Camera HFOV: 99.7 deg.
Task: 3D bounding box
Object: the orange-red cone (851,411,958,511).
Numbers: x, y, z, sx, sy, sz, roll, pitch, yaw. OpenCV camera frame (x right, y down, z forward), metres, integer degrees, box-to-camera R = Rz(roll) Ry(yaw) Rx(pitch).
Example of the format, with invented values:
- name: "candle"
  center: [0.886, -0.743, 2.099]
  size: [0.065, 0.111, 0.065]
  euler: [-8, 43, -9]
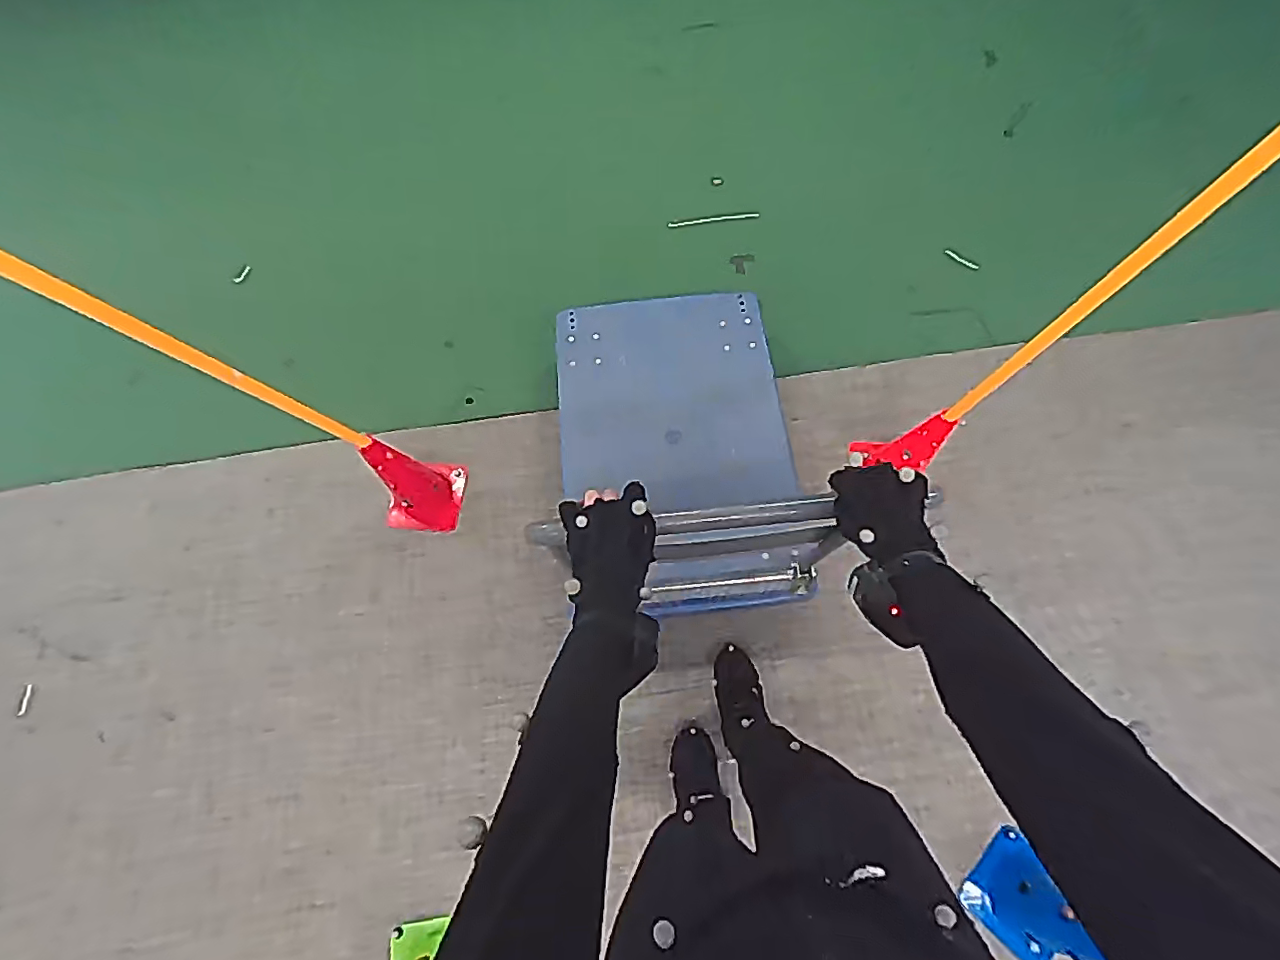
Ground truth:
- name: "orange-red cone"
  center: [0.686, -0.071, 1.346]
  size: [0.198, 0.360, 0.199]
  euler: [2, 69, 3]
